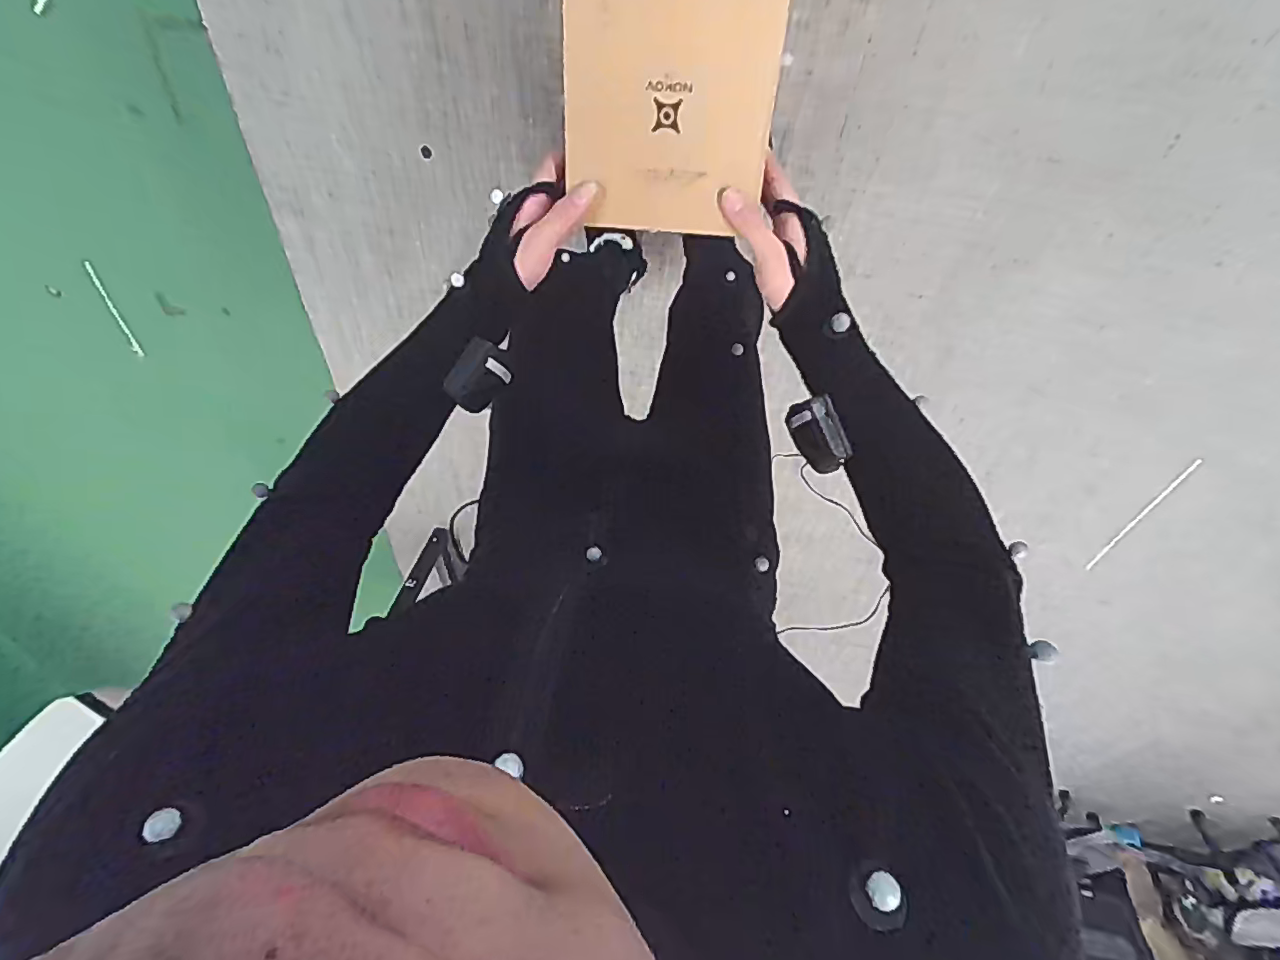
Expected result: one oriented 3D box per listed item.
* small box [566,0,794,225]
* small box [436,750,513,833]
[{"bbox_3d":[0.031,-0.337,0.483,0.168,0.176,0.179,6,121,3],"label":"small box"},{"bbox_3d":[-0.507,0.970,1.685,0.168,0.176,0.179,6,133,4],"label":"small box"}]
